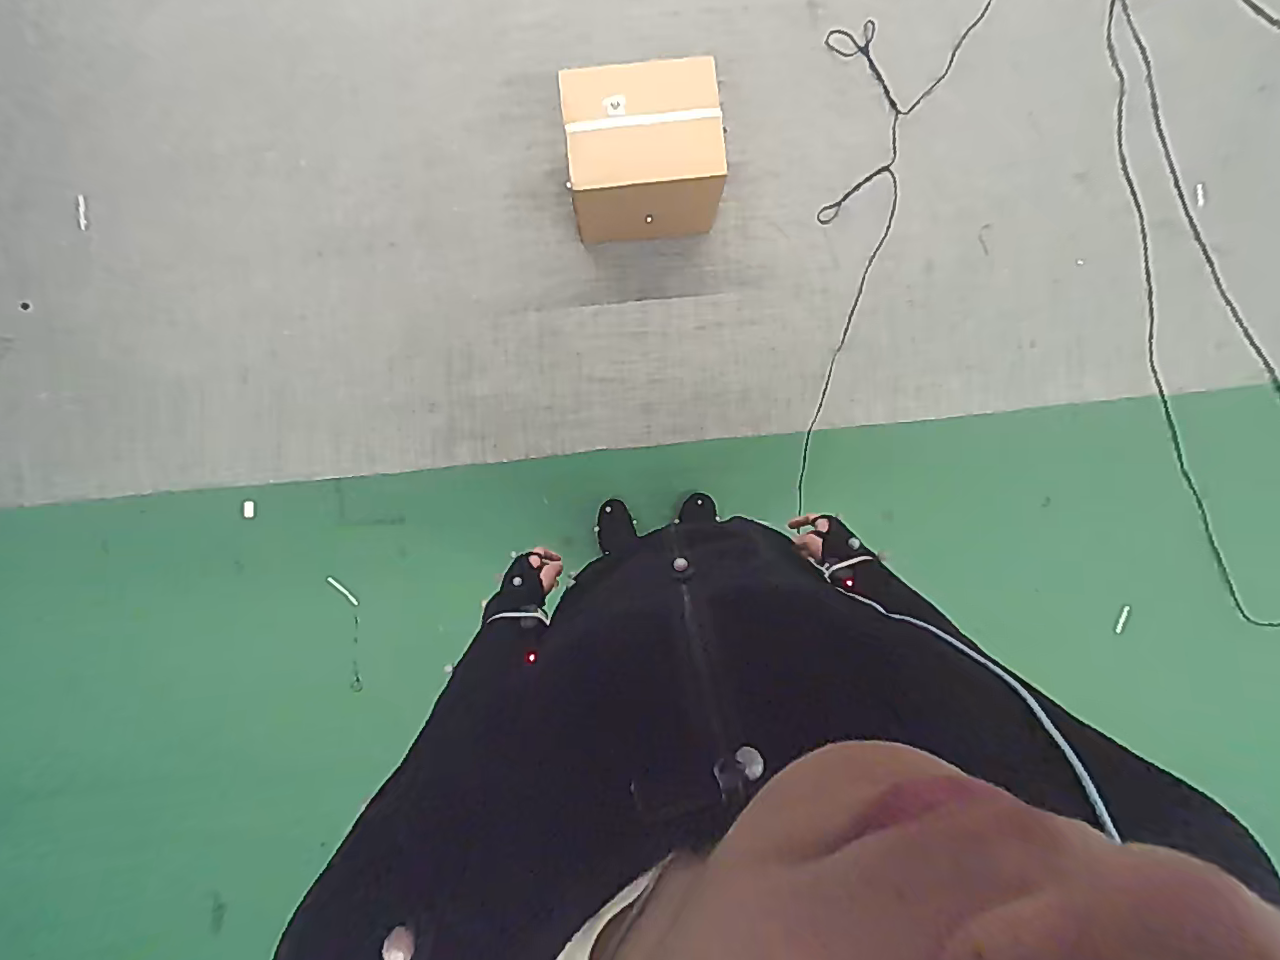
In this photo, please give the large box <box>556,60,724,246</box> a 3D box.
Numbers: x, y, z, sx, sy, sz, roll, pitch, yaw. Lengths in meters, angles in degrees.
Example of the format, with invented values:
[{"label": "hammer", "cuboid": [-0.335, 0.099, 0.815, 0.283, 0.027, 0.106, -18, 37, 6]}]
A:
[{"label": "large box", "cuboid": [0.003, -0.902, 1.537, 0.408, 0.320, 0.320, -8, 88, 0]}]
